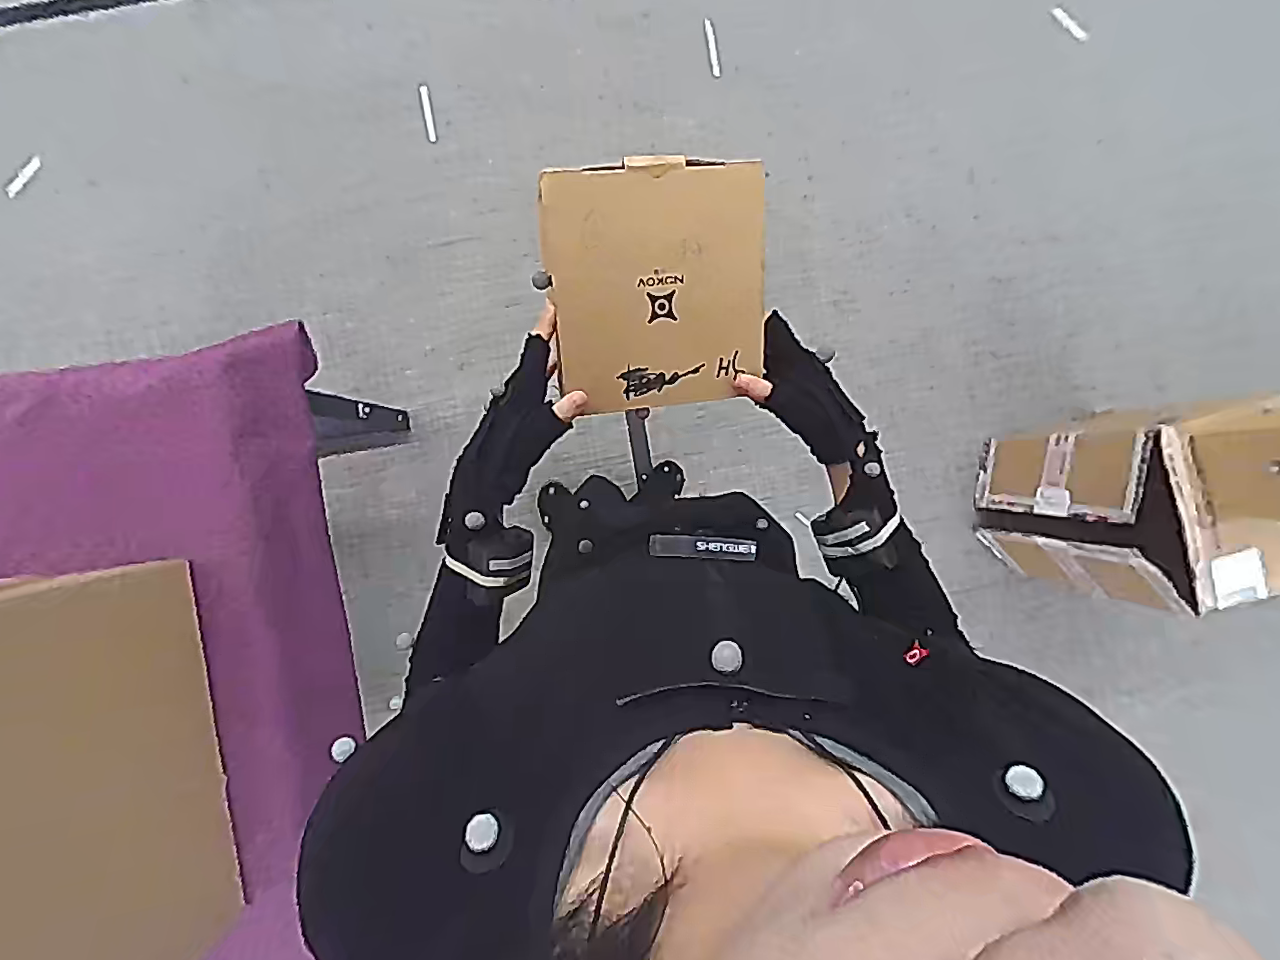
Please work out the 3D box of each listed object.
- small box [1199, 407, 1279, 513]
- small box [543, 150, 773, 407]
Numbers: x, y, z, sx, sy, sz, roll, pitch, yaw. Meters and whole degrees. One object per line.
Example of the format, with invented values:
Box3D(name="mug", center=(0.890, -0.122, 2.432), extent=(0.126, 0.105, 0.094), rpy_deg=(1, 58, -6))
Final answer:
Box3D(name="small box", center=(1.187, -0.041, 0.982), extent=(0.168, 0.176, 0.179), rpy_deg=(-17, 91, -3))
Box3D(name="small box", center=(0.006, -0.173, 0.480), extent=(0.168, 0.176, 0.179), rpy_deg=(-7, 111, -8))
